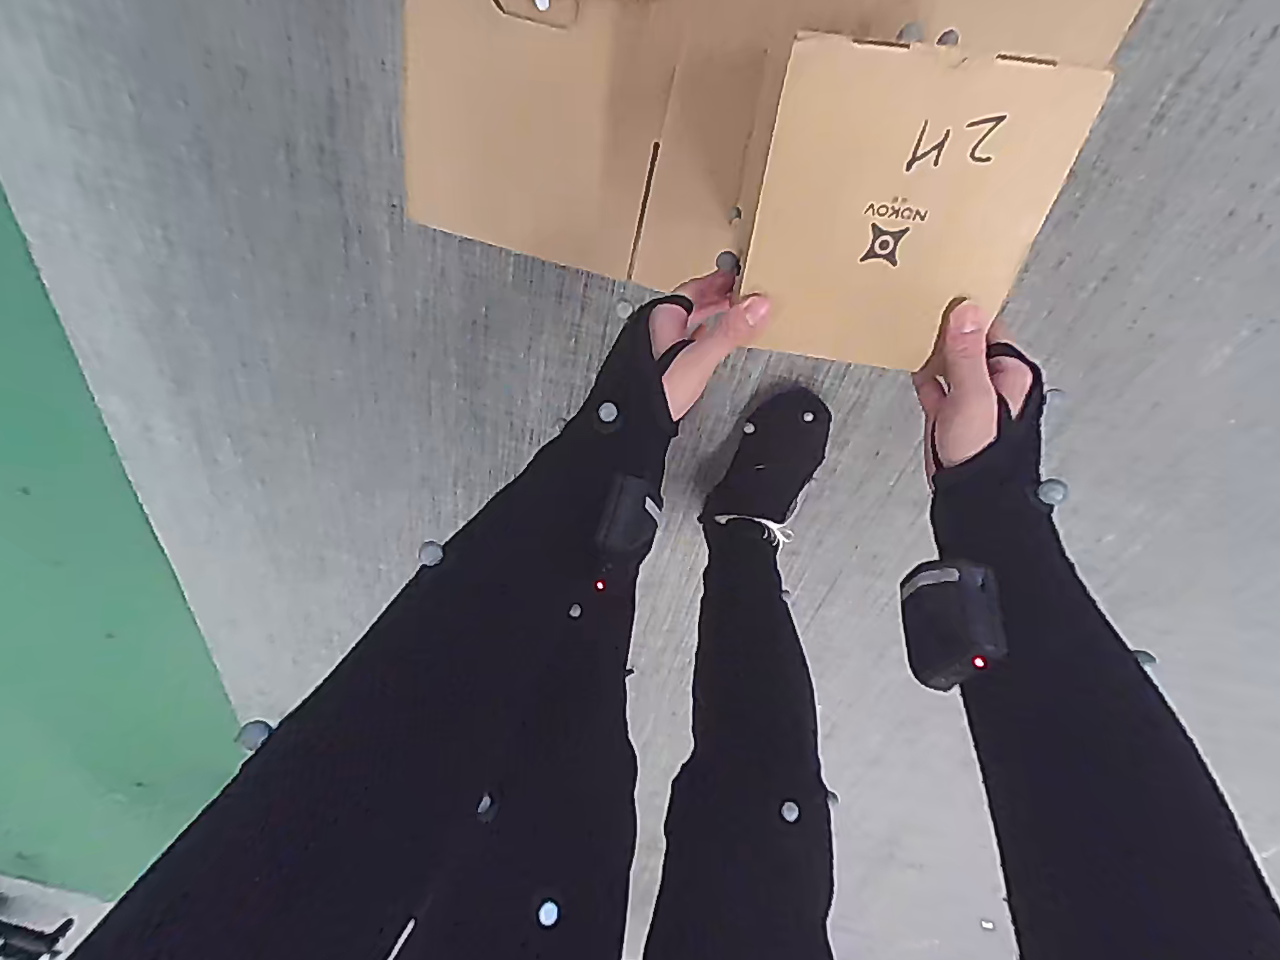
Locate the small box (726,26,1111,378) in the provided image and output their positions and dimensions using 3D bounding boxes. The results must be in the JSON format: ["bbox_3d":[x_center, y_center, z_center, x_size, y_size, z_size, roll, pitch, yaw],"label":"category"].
[{"bbox_3d":[0.161,-0.198,0.389,0.168,0.176,0.179,9,126,3],"label":"small box"}]
